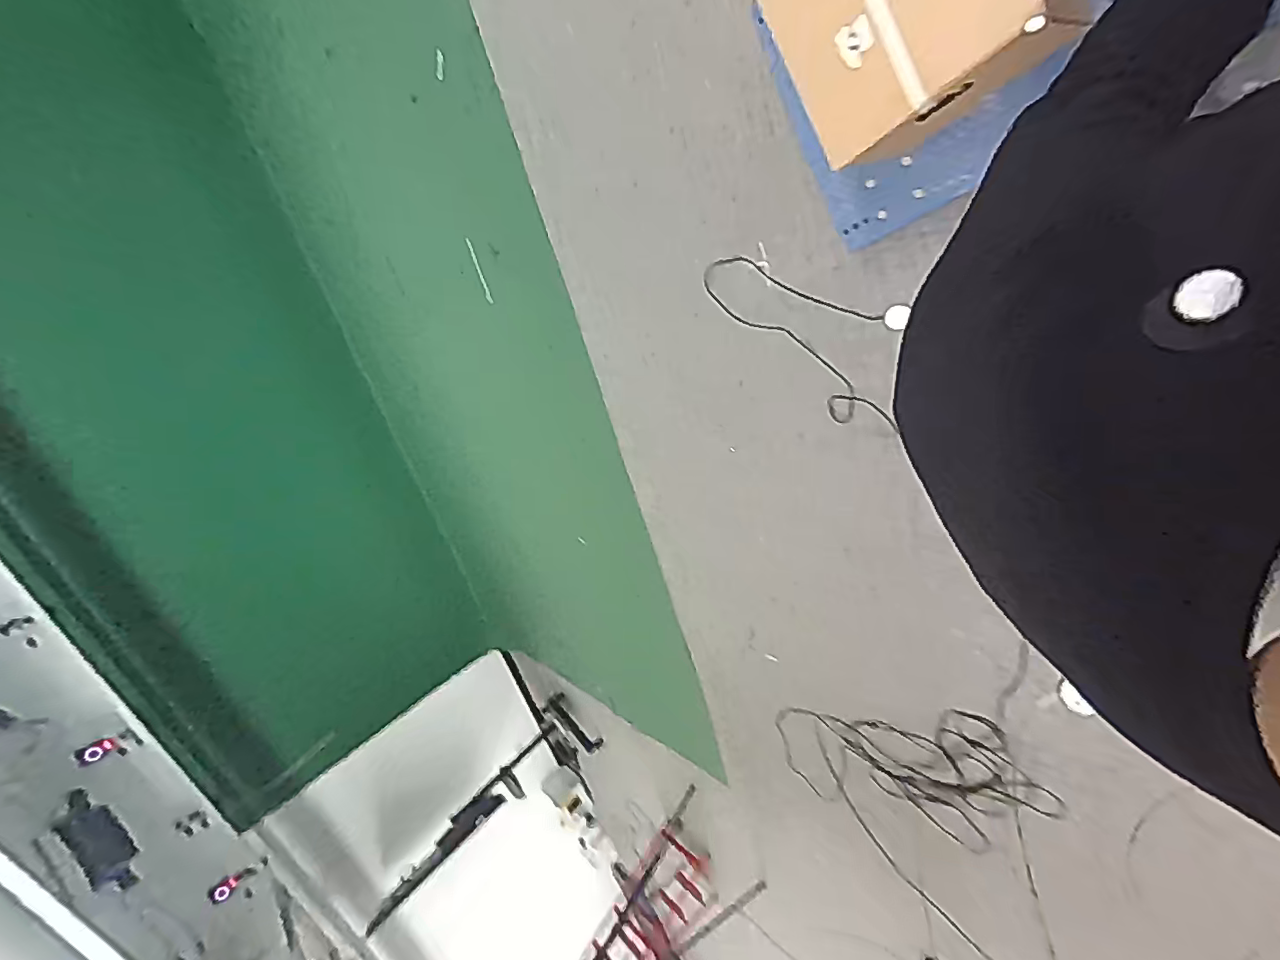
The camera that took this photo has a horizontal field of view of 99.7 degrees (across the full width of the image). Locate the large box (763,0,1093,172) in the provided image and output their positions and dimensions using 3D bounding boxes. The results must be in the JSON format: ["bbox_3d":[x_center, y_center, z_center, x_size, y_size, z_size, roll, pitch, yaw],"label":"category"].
[{"bbox_3d":[0.438,-0.789,0.860,0.320,0.320,0.408,-19,102,54],"label":"large box"}]
